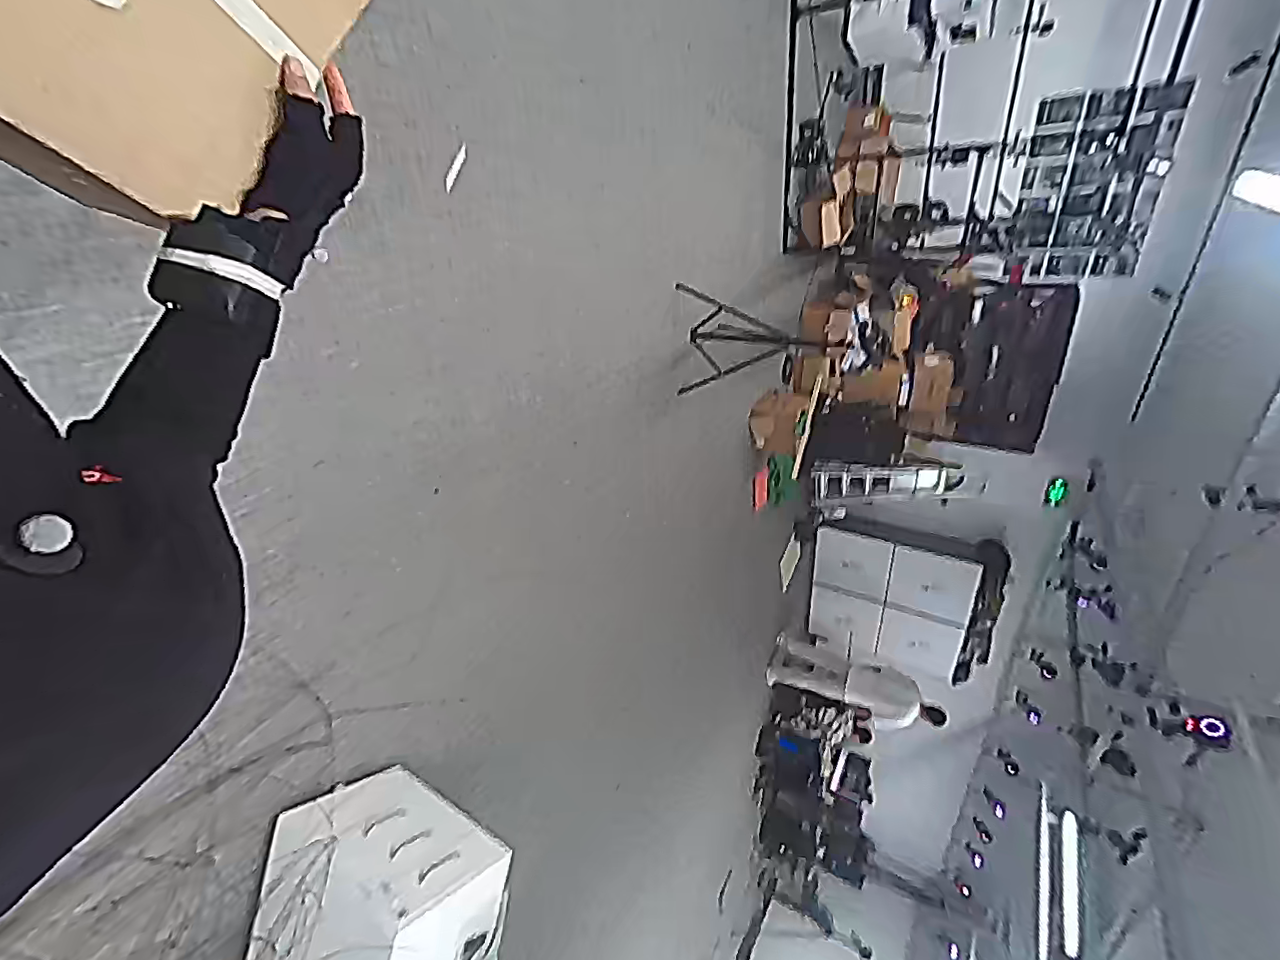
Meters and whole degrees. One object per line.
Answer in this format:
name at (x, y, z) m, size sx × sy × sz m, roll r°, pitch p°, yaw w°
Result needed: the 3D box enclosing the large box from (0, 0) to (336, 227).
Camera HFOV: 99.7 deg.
large box at (-0.482, -0.435, 0.333) m, size 0.320 × 0.320 × 0.408 m, roll -64°, pitch 154°, yaw -4°
